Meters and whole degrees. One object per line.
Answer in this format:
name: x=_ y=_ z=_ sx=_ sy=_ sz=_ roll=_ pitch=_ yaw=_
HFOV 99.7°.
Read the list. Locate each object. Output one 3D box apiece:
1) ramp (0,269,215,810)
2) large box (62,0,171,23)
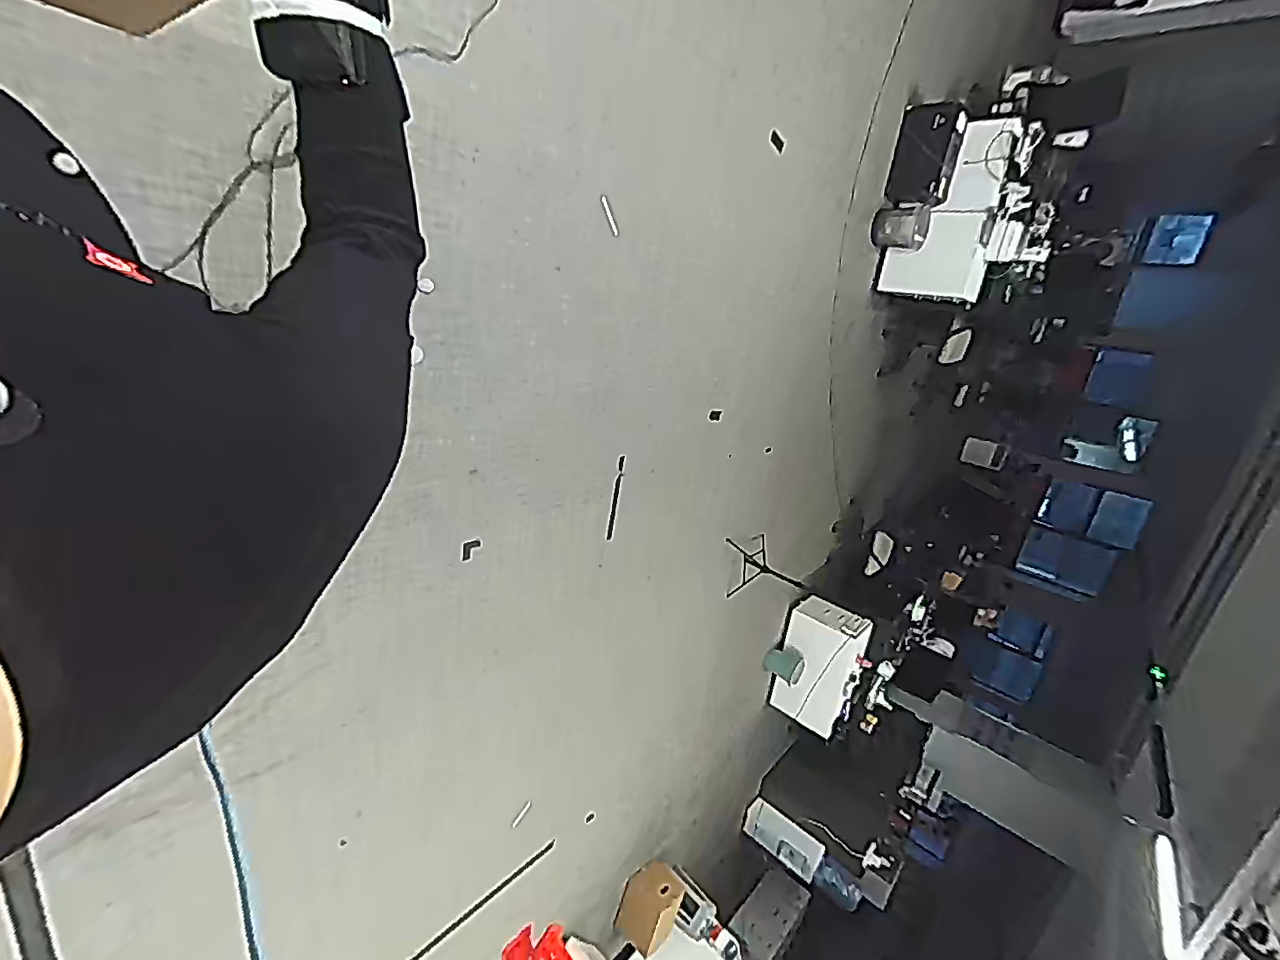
ramp: x=-1.166 y=0.127 z=0.996 sx=0.509 sy=0.206 sz=0.991 roll=-14 pitch=118 yaw=-46
large box: x=-0.460 y=-0.488 z=0.227 sx=0.408 sy=0.320 sz=0.320 roll=-13 pitch=120 yaw=-50
